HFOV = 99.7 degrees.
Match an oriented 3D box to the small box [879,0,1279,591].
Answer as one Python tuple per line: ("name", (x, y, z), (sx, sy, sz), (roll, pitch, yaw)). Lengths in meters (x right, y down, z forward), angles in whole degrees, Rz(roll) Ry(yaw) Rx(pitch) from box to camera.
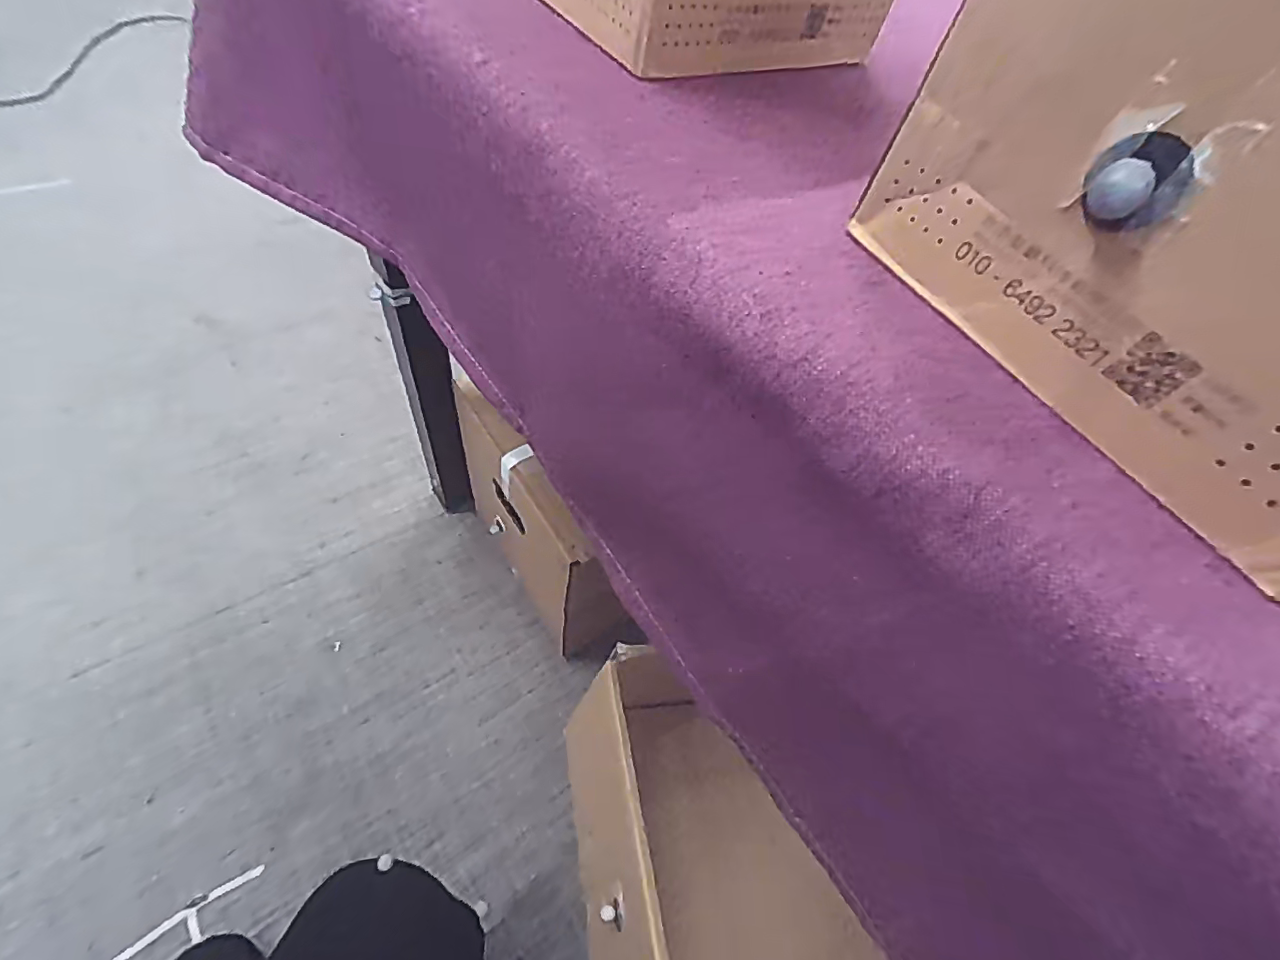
("small box", (0.204, -0.100, 0.136), (0.179, 0.176, 0.168), (-21, 62, -22))
